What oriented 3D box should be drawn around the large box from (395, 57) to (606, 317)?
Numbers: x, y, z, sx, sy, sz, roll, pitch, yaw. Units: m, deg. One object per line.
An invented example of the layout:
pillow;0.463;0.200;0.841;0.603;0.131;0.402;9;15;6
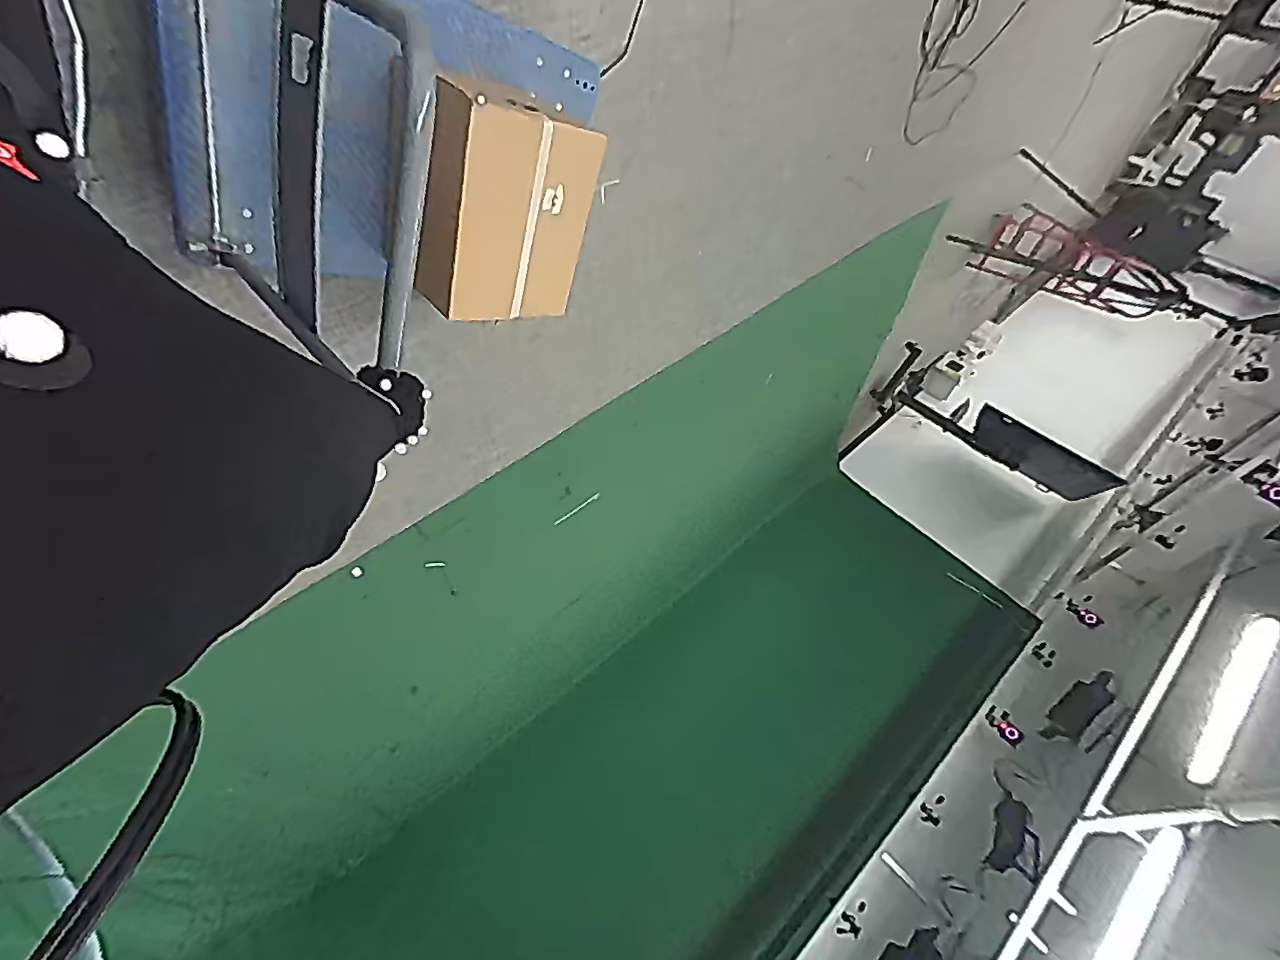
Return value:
large box;-0.326;-0.621;1.193;0.320;0.320;0.408;-20;142;-42
